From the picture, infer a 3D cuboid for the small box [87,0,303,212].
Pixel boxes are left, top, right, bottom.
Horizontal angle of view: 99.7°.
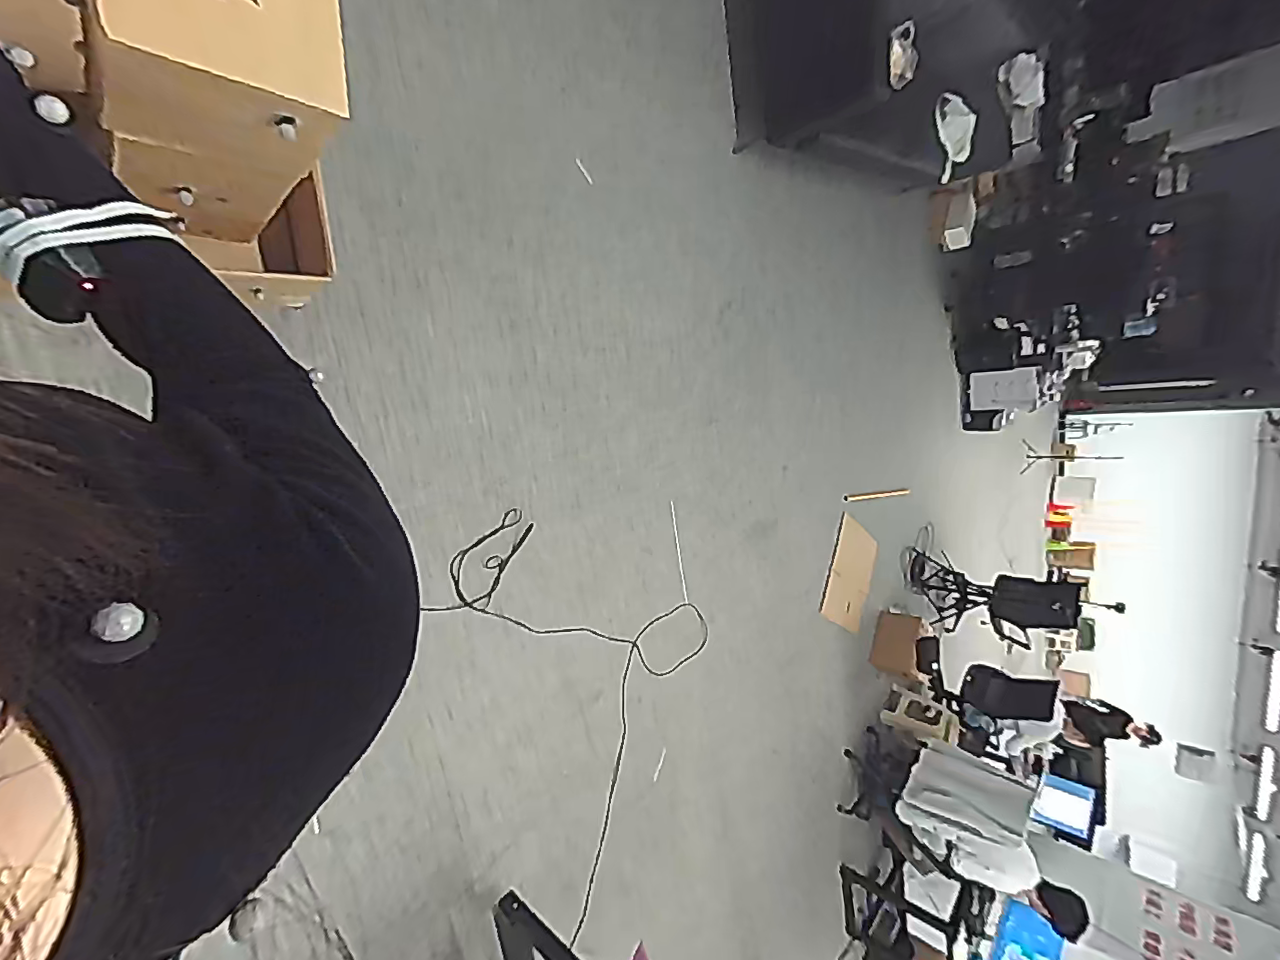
[{"bbox_3d":[-0.515,-0.440,0.628,0.168,0.176,0.179,-10,101,-43],"label":"small box"}]
